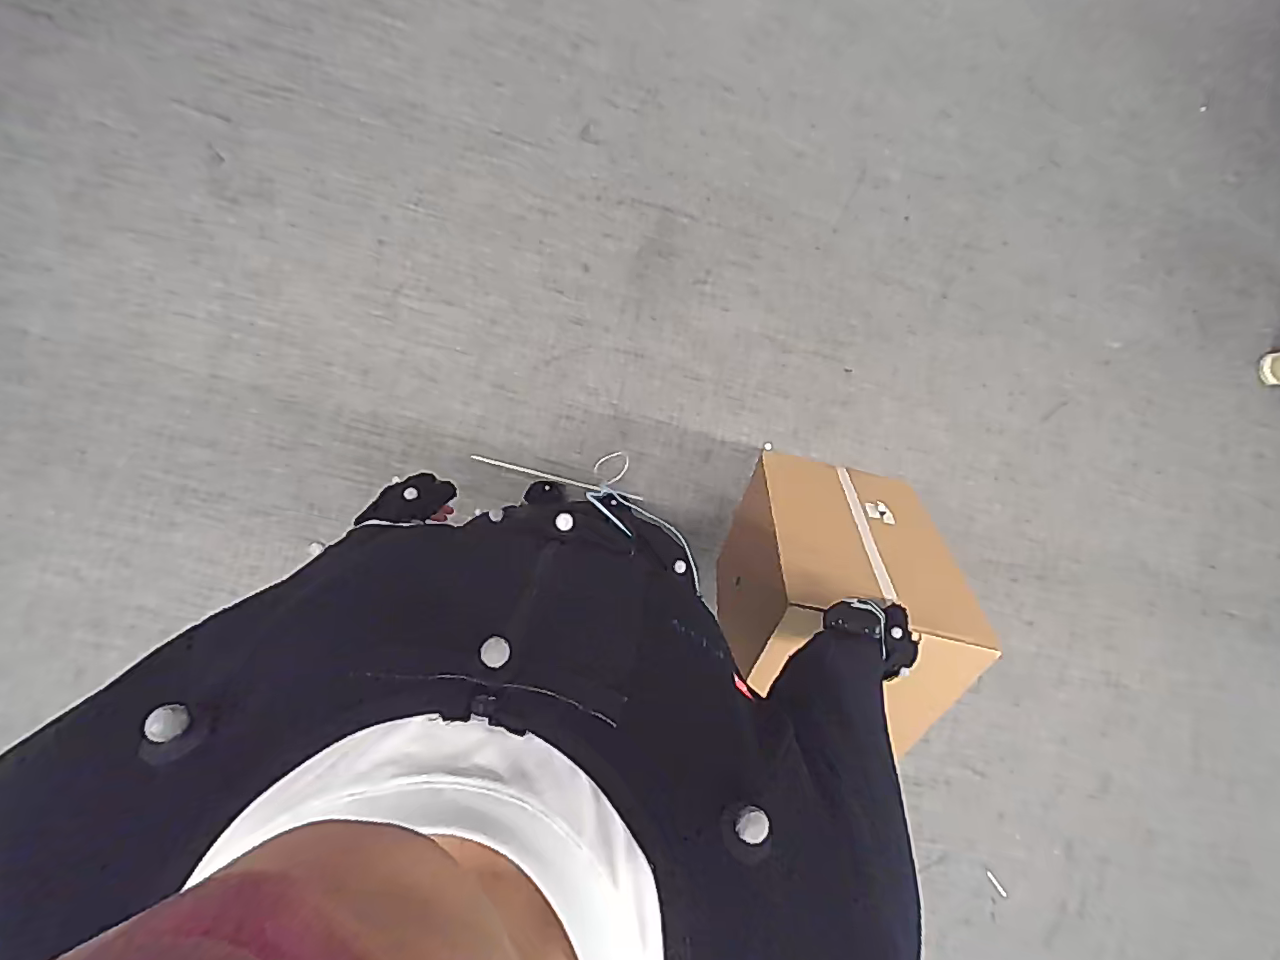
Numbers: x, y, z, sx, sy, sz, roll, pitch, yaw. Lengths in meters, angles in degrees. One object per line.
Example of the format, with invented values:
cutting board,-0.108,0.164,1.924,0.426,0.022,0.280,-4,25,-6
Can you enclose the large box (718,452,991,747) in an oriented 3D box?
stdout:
large box,0.338,0.207,1.002,0.320,0.408,0.320,14,125,-3
